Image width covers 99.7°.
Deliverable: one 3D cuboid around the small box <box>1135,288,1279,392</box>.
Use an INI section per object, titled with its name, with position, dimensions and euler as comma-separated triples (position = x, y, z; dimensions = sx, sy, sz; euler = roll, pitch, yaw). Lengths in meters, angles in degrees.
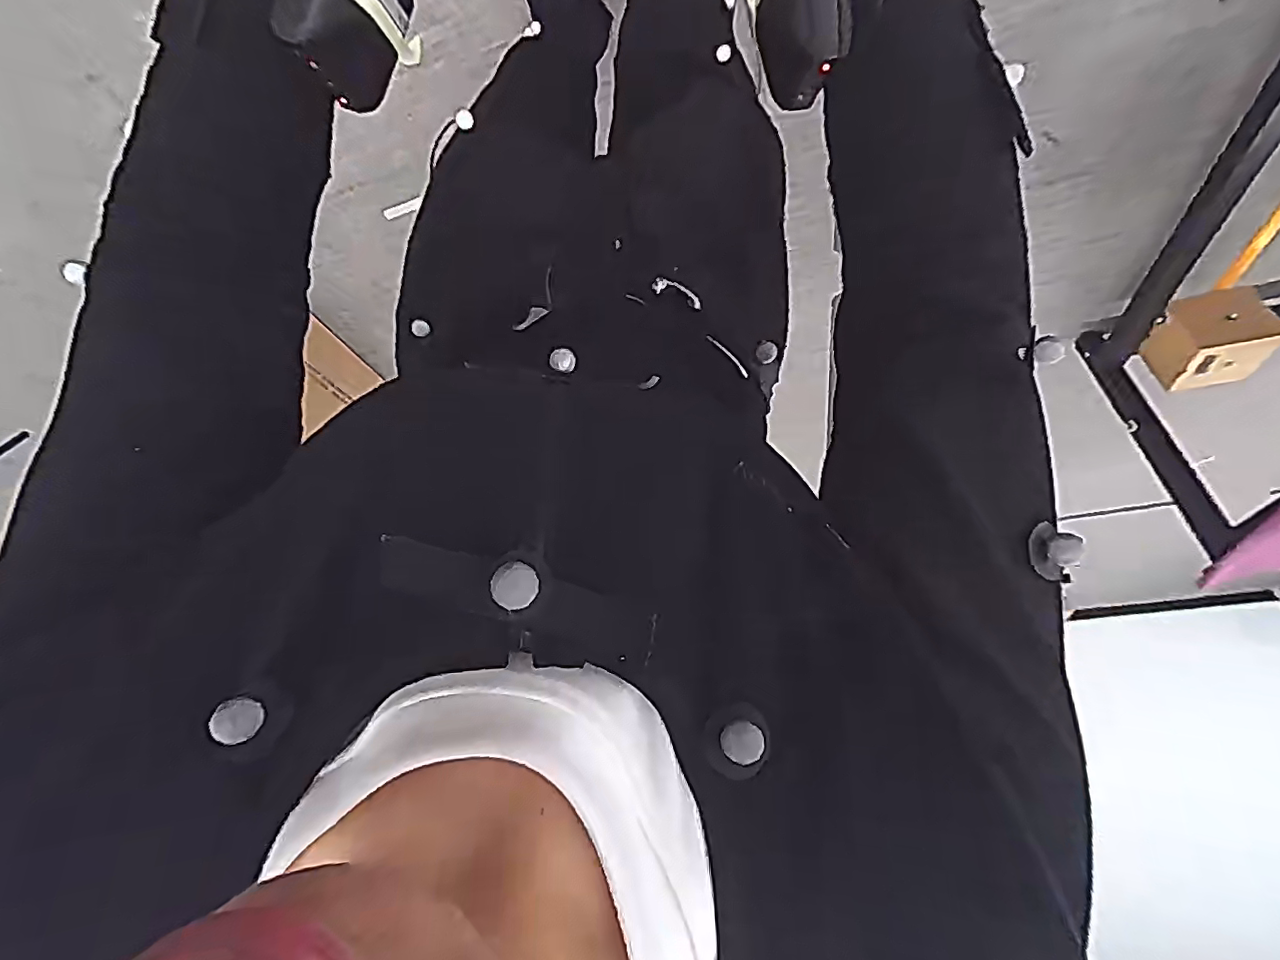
[small box]
position = 1.409, -0.349, 1.353
dimensions = 0.179, 0.176, 0.168
euler = -10, 148, 12
